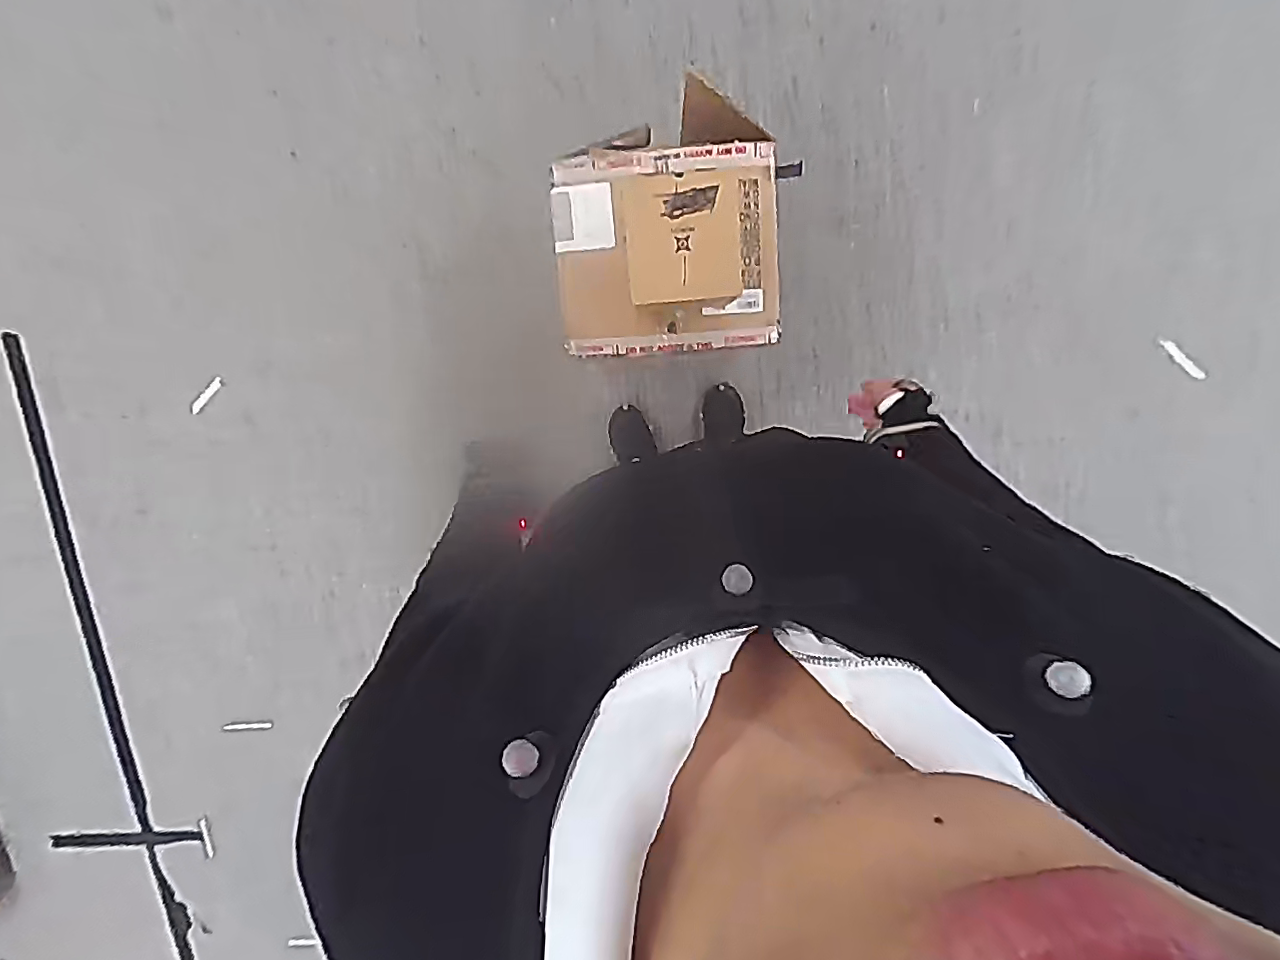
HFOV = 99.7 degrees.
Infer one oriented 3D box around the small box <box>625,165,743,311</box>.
[{"bbox_3d":[0.066,-0.371,0.857,0.168,0.176,0.179,-4,103,3],"label":"small box"}]
